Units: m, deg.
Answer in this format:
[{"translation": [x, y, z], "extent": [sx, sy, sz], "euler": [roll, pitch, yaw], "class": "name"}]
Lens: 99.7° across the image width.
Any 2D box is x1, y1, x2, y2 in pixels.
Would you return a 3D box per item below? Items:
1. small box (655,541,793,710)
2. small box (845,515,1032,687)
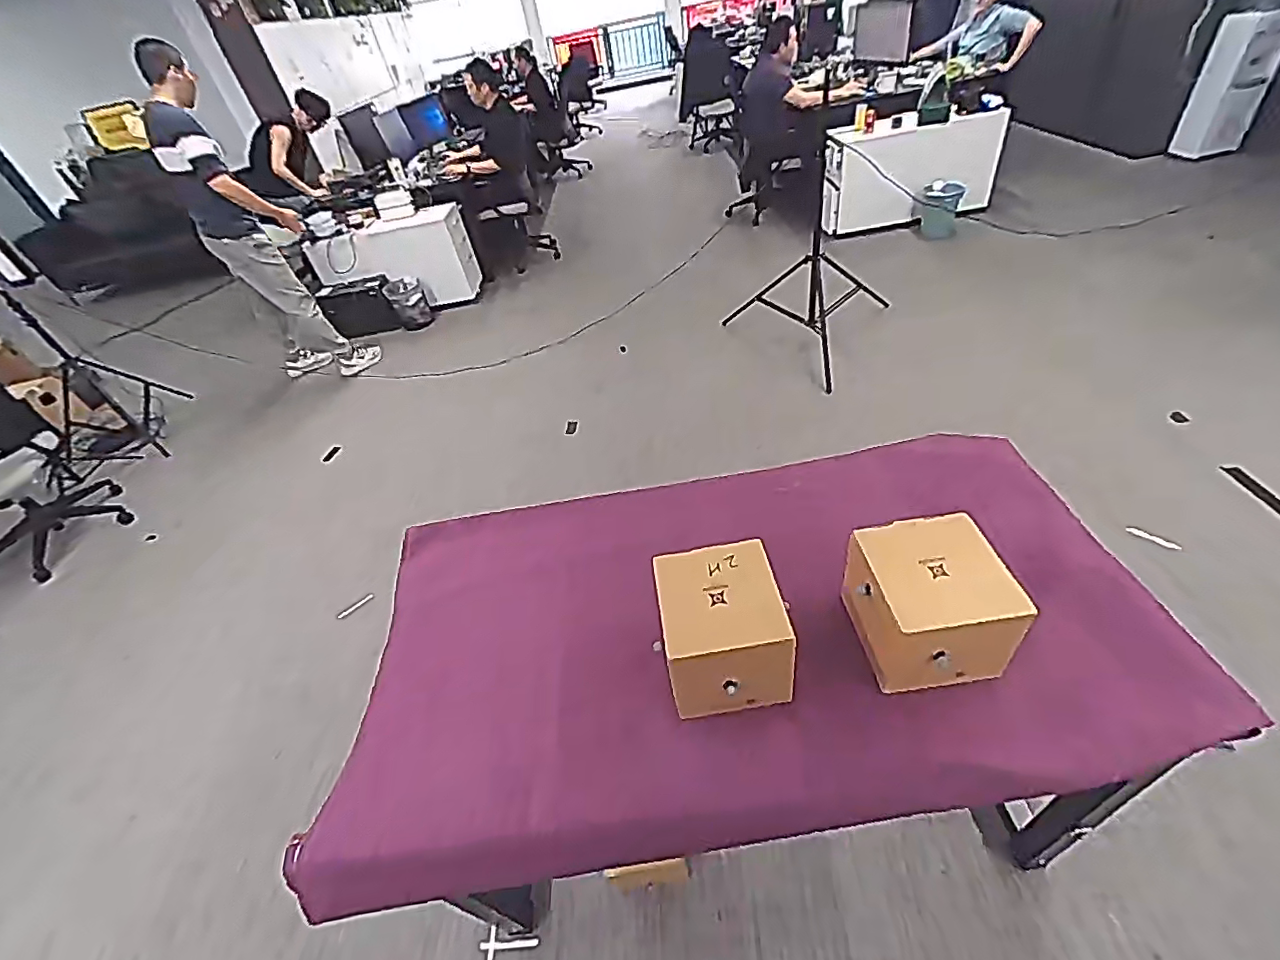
[{"translation": [0.121, 0.220, 0.799], "extent": [0.168, 0.176, 0.179], "euler": [-9, 40, 2], "class": "small box"}, {"translation": [0.409, 0.180, 0.777], "extent": [0.168, 0.176, 0.179], "euler": [-10, 41, 3], "class": "small box"}]
